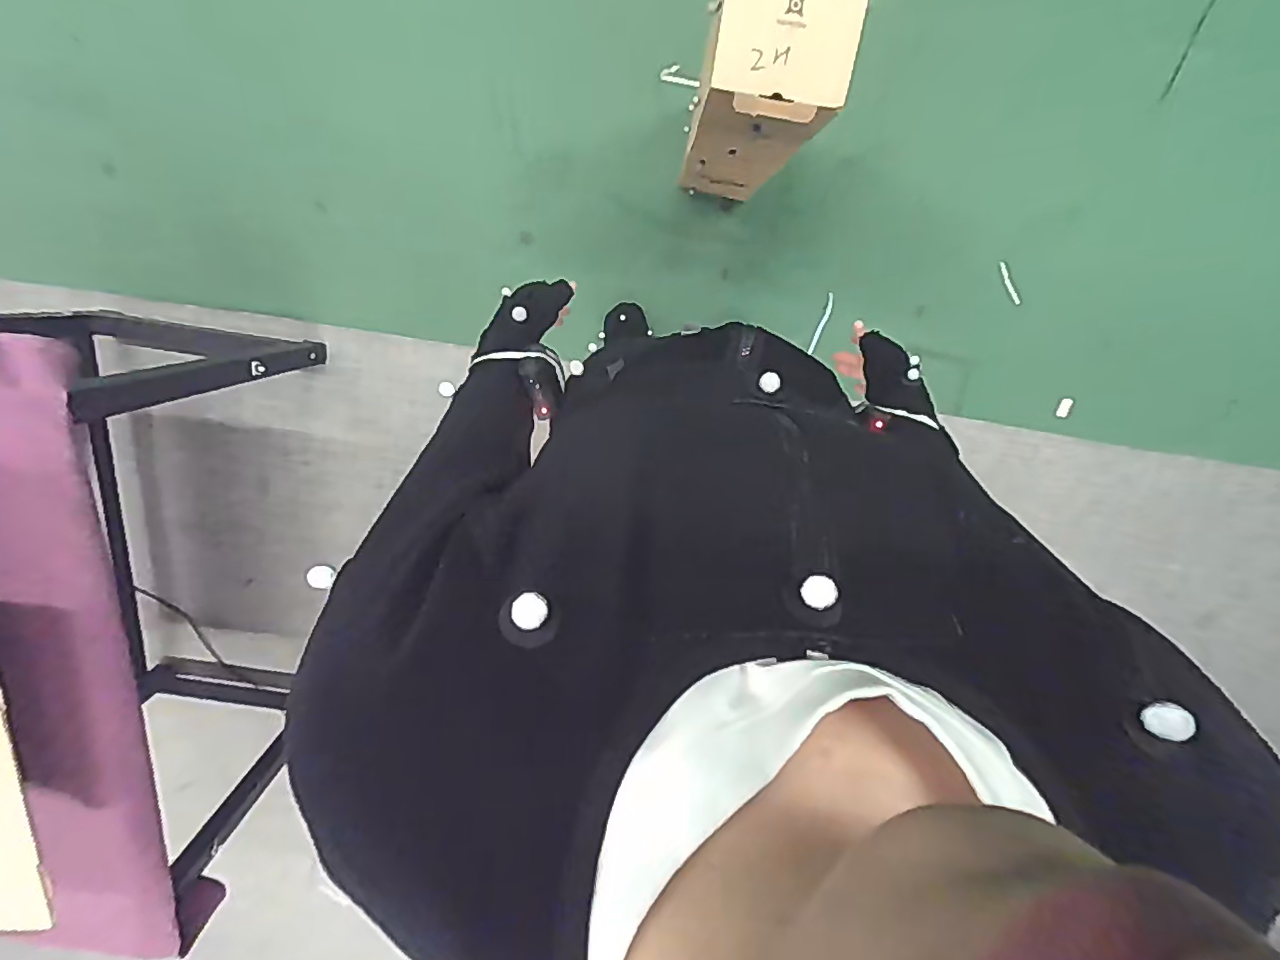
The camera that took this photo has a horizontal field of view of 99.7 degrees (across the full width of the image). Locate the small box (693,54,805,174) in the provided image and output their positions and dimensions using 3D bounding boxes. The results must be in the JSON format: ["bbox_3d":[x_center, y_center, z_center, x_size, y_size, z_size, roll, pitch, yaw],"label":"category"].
[{"bbox_3d":[0.183,-0.618,0.867,0.168,0.176,0.179,9,109,-3],"label":"small box"}]

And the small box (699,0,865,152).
[{"bbox_3d":[0.176,-0.563,0.711,0.168,0.176,0.179,8,108,-2],"label":"small box"}]

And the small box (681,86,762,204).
[{"bbox_3d":[0.187,-0.719,1.178,0.168,0.176,0.179,11,108,-3],"label":"small box"}]
